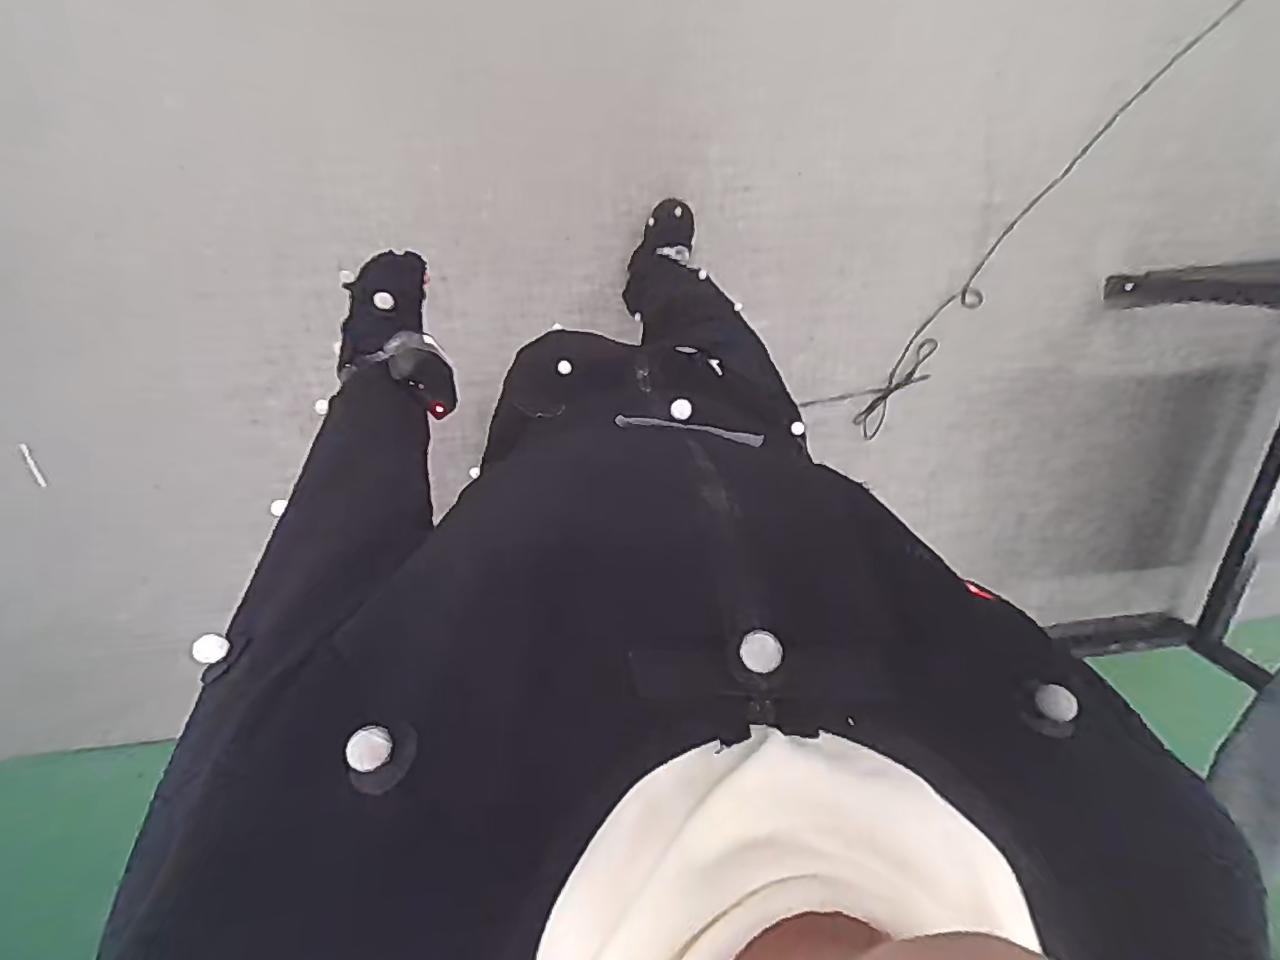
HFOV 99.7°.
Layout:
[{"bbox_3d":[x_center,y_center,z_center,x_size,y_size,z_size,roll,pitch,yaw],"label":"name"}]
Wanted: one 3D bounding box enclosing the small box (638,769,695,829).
[{"bbox_3d":[0.085,1.112,1.824,0.168,0.176,0.179,-4,113,-7],"label":"small box"}]
